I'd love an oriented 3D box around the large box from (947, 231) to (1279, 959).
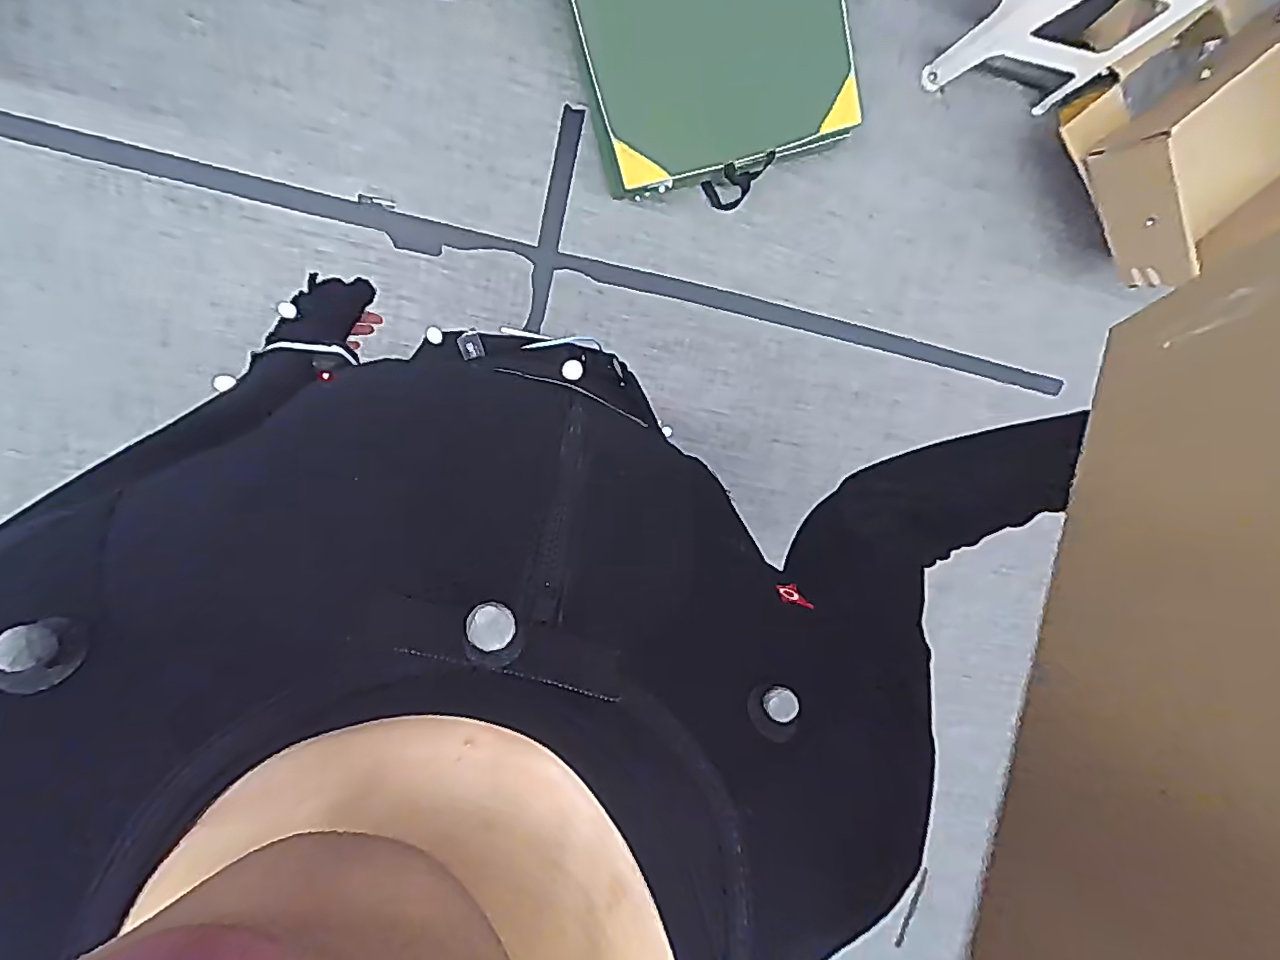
[{"bbox_3d":[0.358,0.058,0.118,0.320,0.320,0.408,43,58,0],"label":"large box"}]
